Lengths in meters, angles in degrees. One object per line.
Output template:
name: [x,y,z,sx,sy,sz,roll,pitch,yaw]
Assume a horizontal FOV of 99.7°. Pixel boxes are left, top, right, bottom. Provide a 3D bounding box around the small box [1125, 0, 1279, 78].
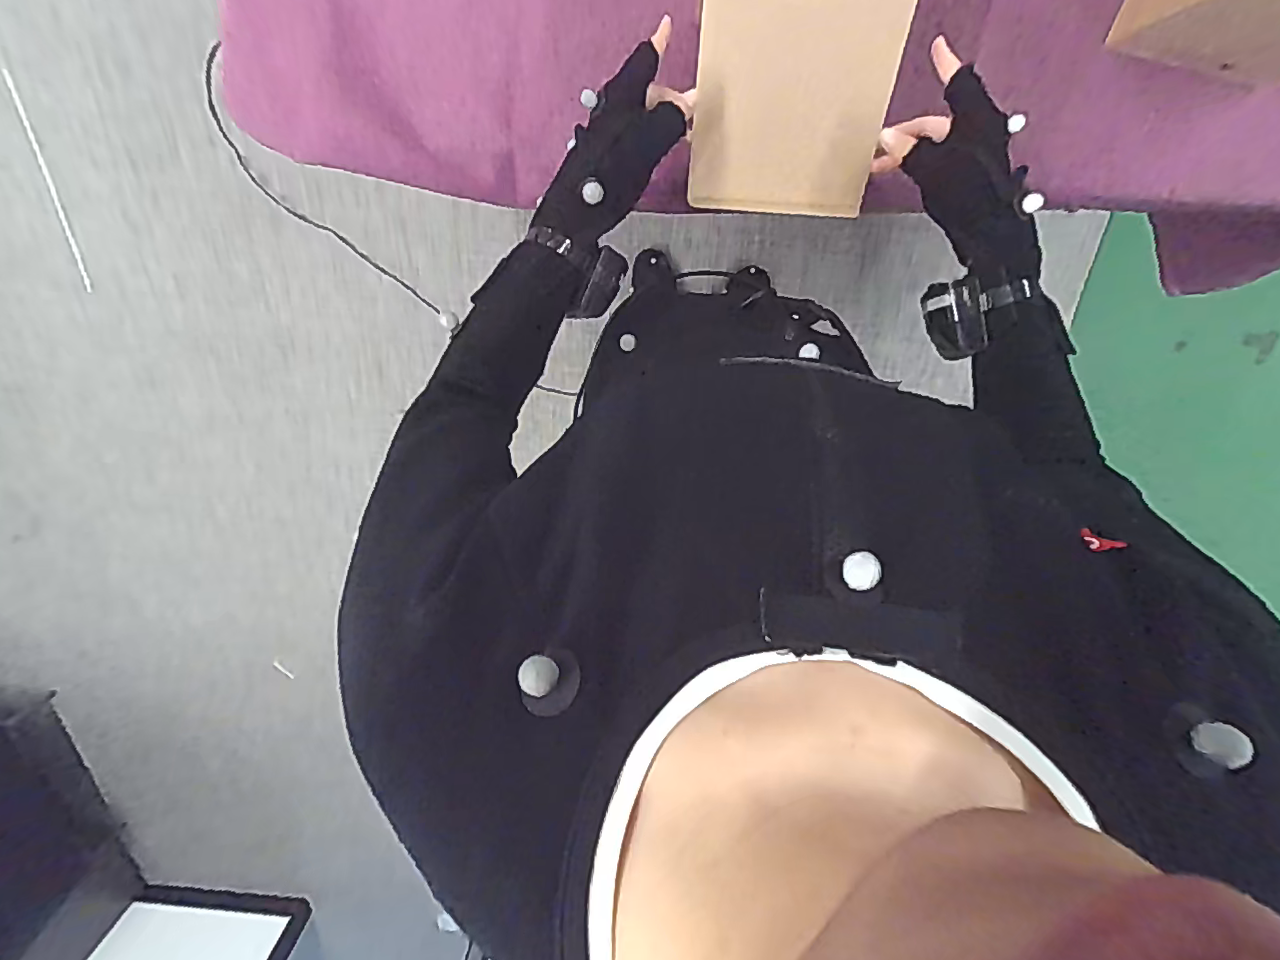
small box: [0.543,-0.447,0.417,0.168,0.176,0.179,14,114,-2]
